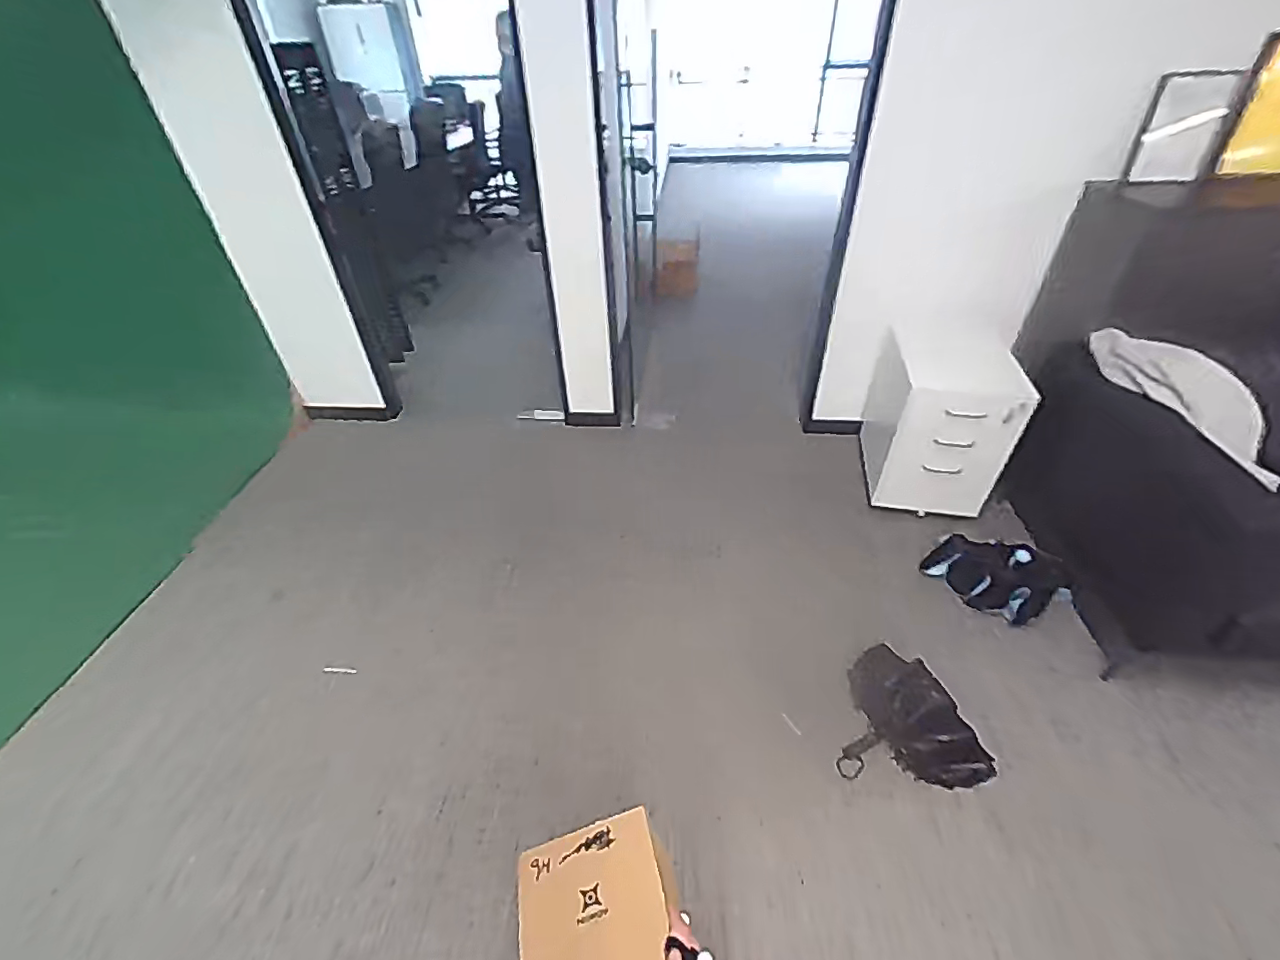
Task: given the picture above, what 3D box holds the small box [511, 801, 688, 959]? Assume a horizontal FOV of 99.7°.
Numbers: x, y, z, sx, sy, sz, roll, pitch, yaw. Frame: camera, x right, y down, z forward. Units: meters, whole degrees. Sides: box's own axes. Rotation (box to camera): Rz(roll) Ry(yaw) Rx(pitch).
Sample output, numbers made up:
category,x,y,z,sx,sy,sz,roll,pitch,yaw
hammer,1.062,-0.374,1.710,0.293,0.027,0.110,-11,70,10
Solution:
category,x,y,z,sx,sy,sz,roll,pitch,yaw
small box,-0.045,0.540,0.650,0.168,0.176,0.179,-20,29,-4
